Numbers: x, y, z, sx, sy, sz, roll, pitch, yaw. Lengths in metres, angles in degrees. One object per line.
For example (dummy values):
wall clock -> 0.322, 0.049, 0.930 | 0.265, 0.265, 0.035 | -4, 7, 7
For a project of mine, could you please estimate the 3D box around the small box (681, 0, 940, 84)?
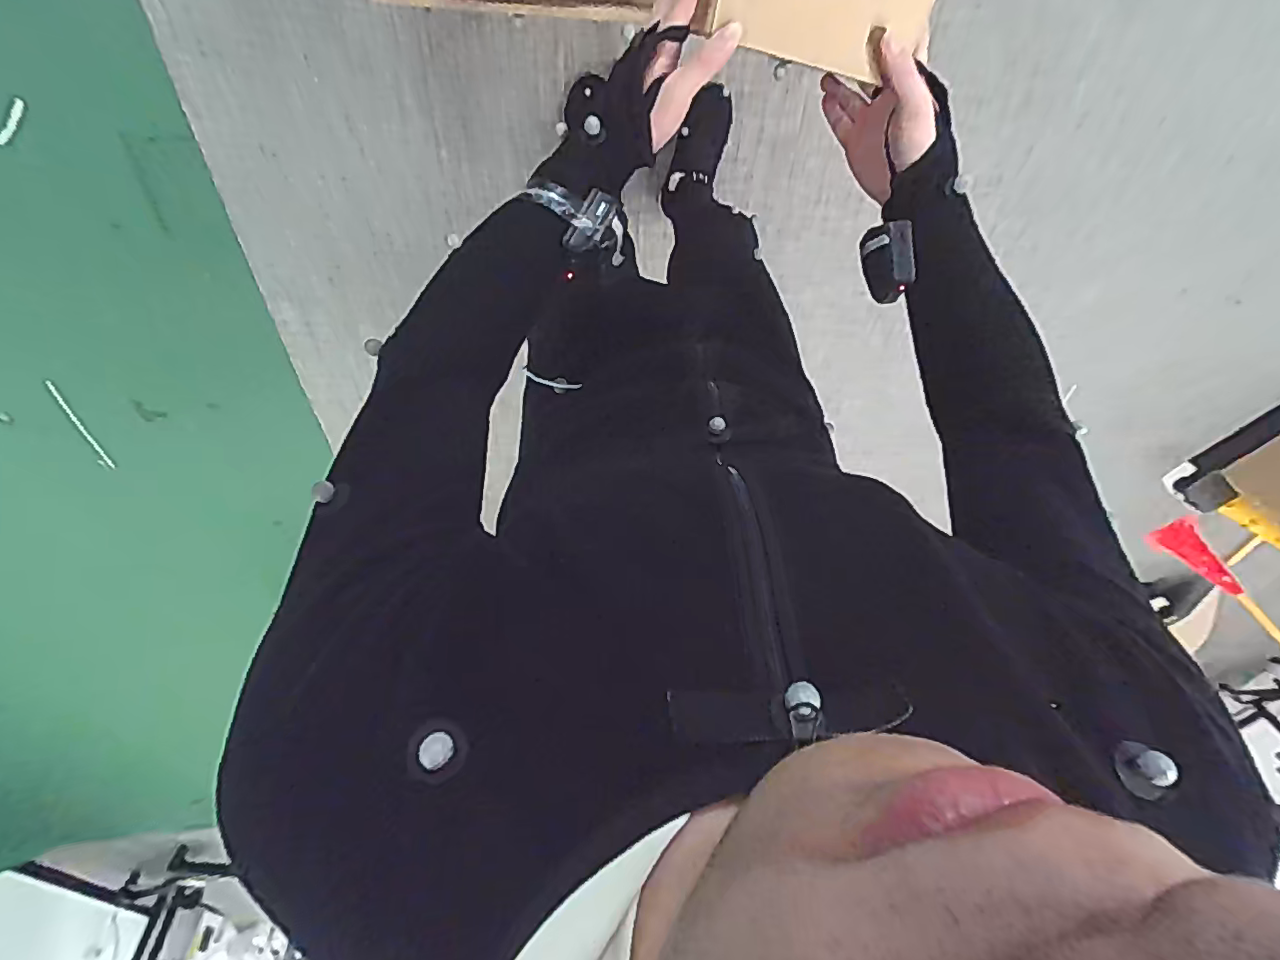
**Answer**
small box -> 0.145, -0.452, 0.442 | 0.179, 0.176, 0.168 | 4, 131, -15
